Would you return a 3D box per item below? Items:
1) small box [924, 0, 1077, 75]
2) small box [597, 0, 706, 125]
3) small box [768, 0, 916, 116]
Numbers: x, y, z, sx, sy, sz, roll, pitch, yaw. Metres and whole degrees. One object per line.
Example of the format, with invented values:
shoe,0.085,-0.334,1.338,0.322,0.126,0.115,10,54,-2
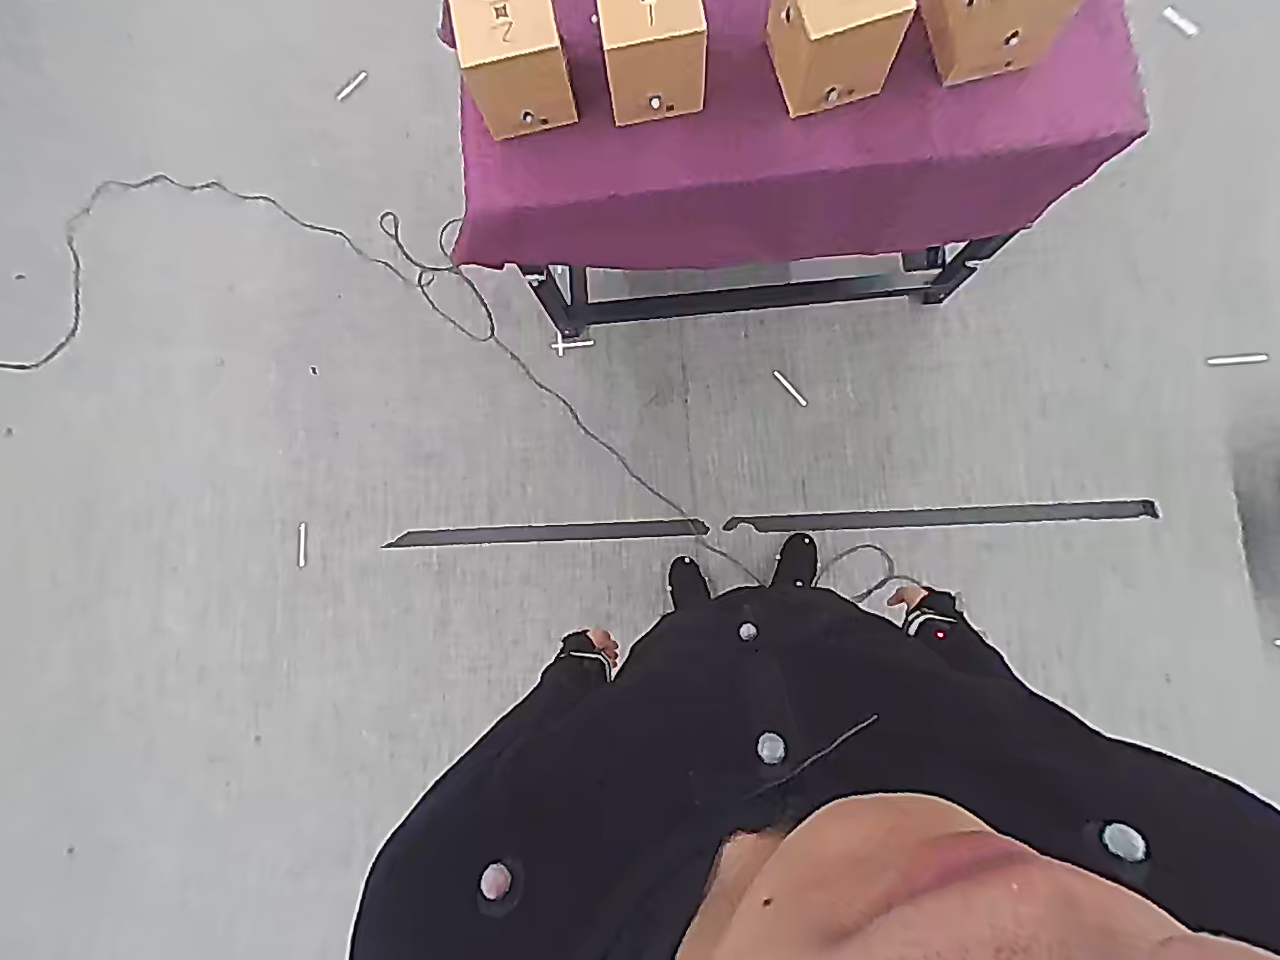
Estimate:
small box,0.595,-0.805,0.880,0.168,0.176,0.179,-11,83,4
small box,0.018,-0.760,0.928,0.168,0.176,0.179,-8,84,4
small box,0.322,-0.763,0.903,0.168,0.176,0.179,-15,83,4
